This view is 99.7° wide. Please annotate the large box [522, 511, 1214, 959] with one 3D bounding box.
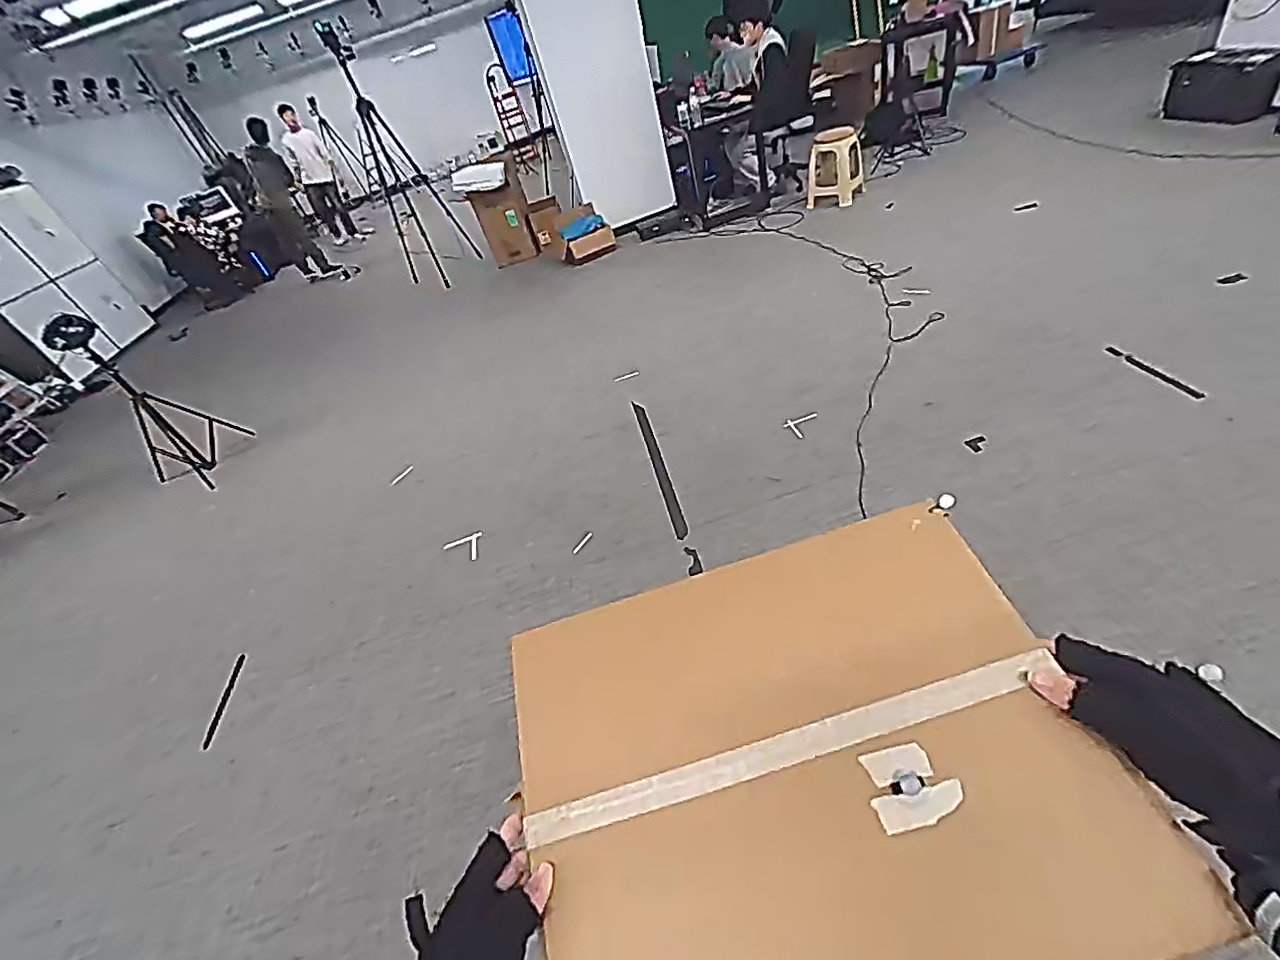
[{"bbox_3d":[0.143,0.294,0.523,0.408,0.320,0.320,-19,52,0],"label":"large box"}]
